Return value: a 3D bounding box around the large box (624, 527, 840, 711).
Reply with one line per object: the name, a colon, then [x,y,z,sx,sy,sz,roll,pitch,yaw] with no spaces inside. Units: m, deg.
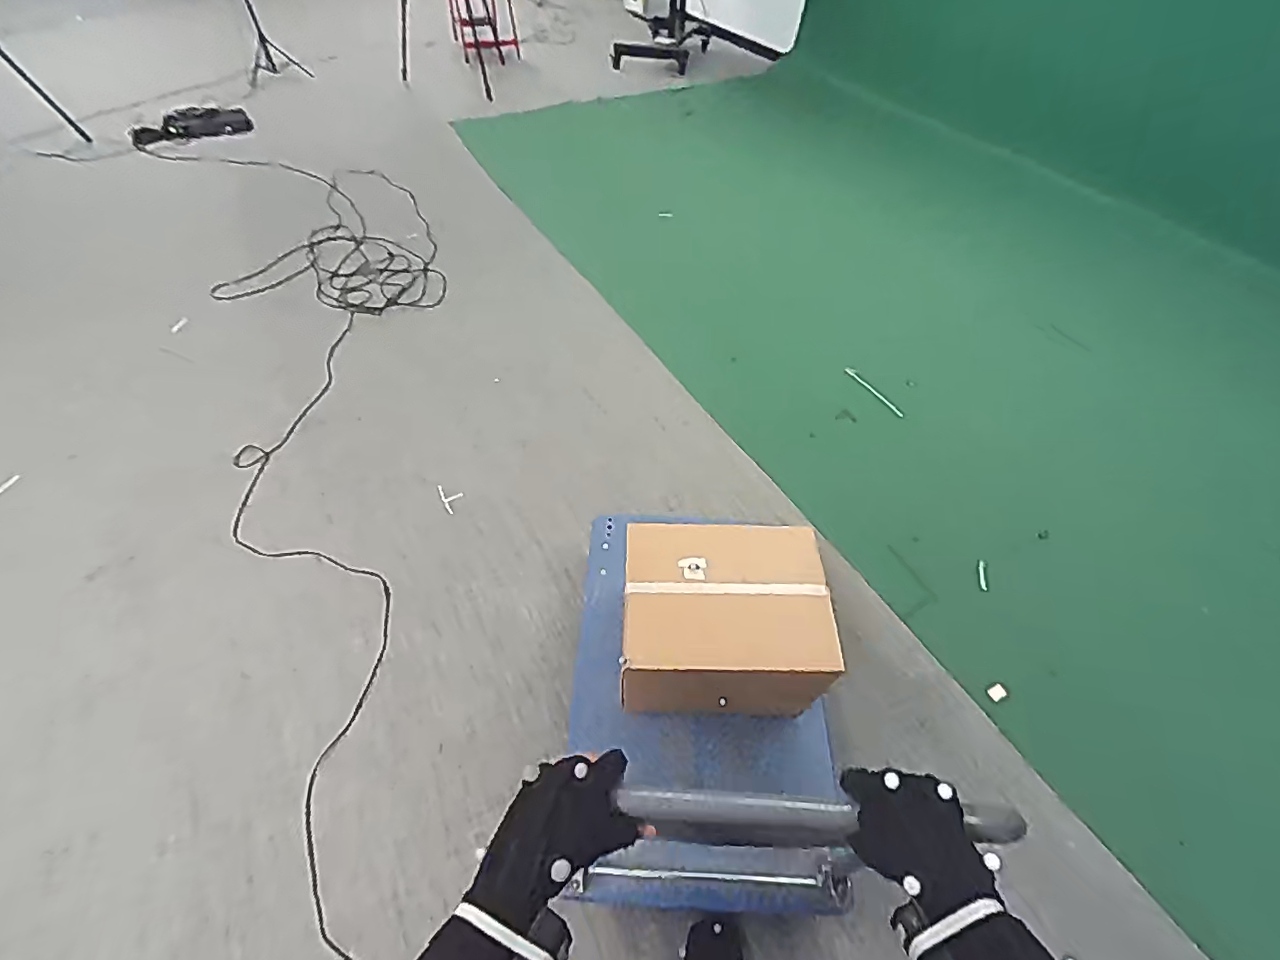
large box: [0.167,0.314,1.195,0.408,0.320,0.320,0,52,-1]
